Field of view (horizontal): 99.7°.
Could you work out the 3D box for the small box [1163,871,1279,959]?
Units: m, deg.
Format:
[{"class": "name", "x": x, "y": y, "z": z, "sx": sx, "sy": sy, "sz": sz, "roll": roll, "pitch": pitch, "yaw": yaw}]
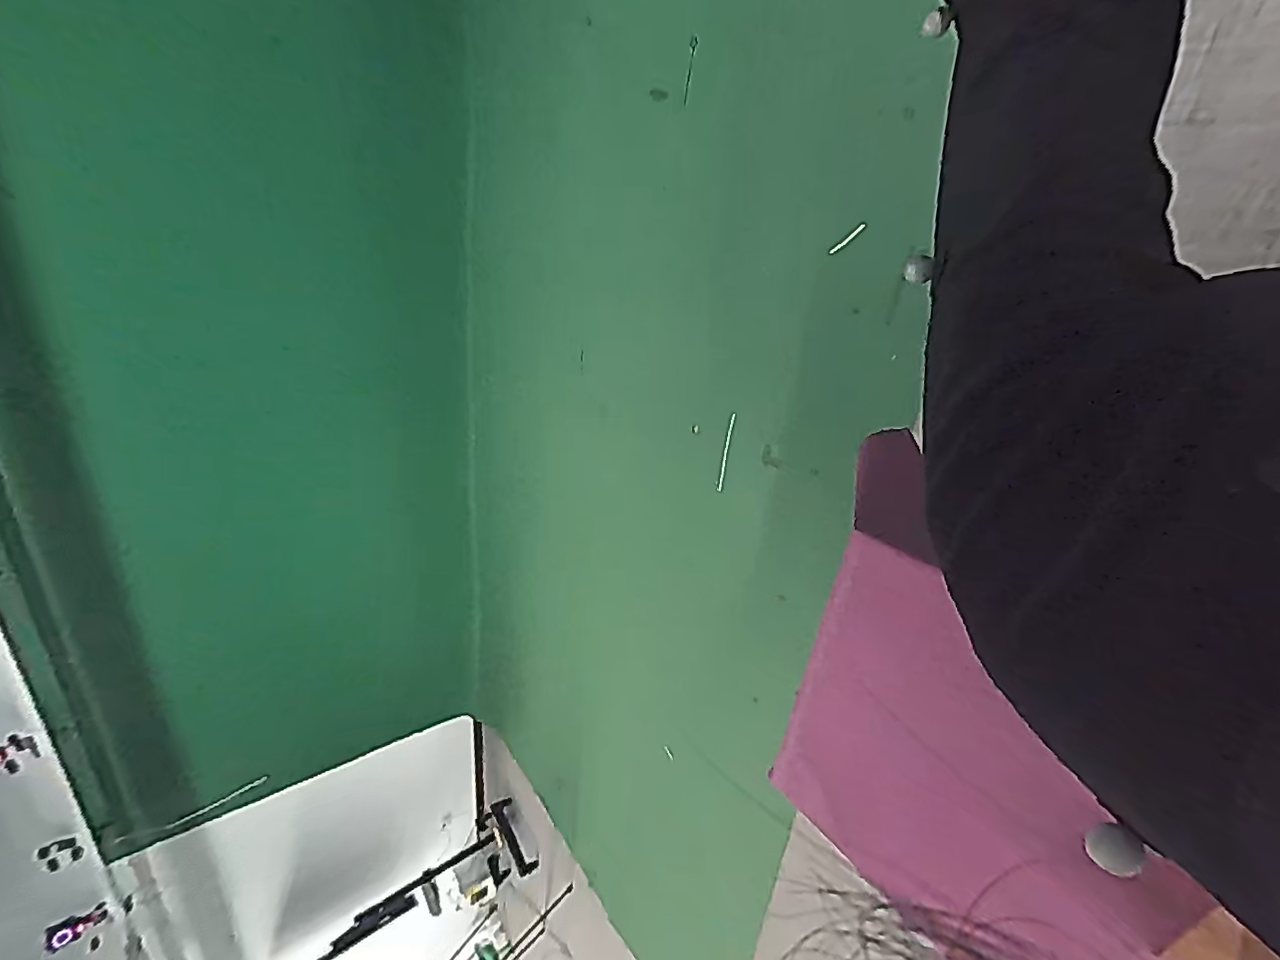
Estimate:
[{"class": "small box", "x": 0.627, "y": 0.531, "z": 0.509, "sx": 0.168, "sy": 0.176, "sz": 0.179, "roll": 36, "pitch": 126, "yaw": 41}]
